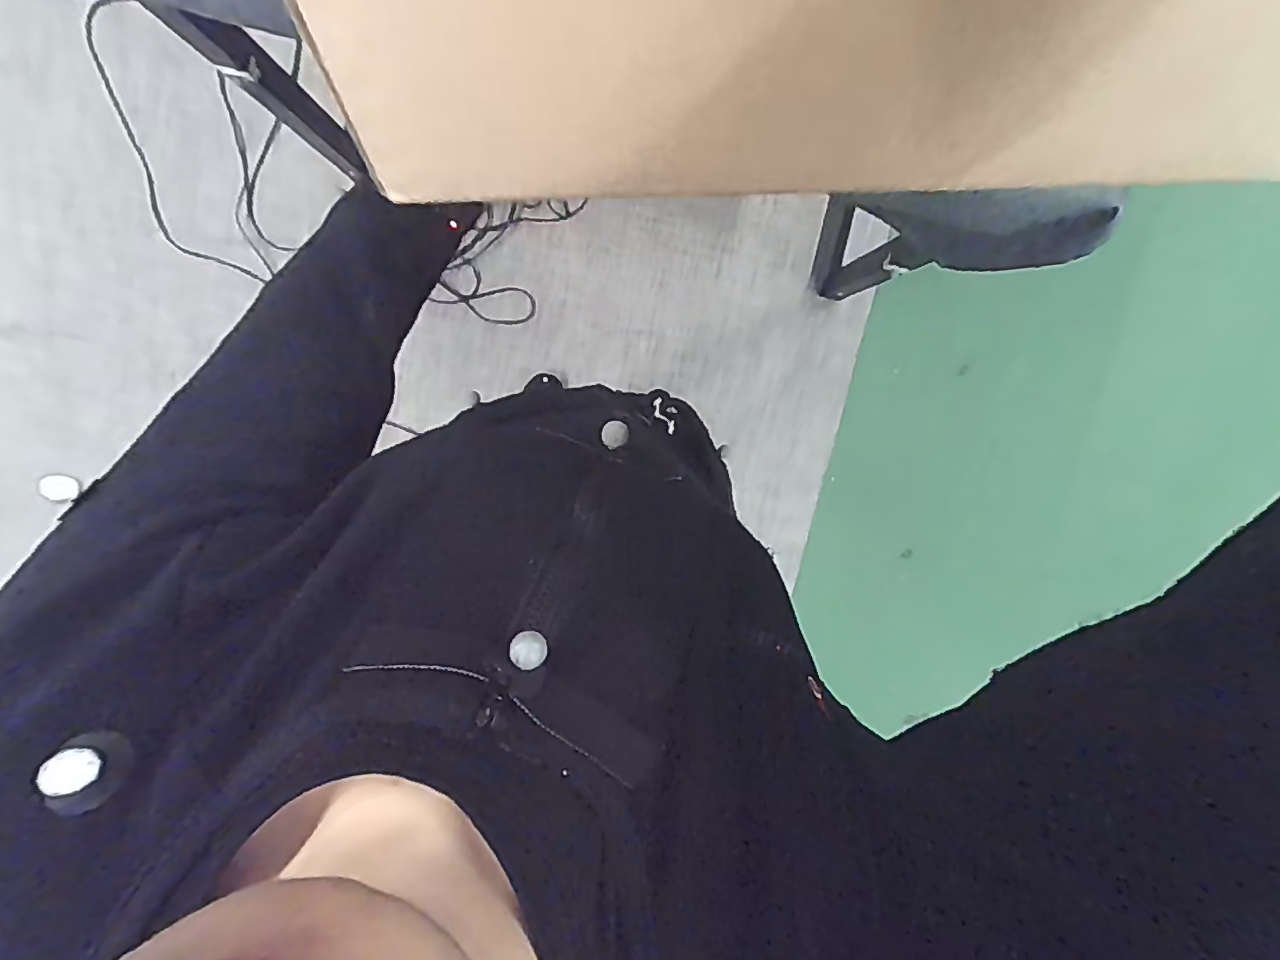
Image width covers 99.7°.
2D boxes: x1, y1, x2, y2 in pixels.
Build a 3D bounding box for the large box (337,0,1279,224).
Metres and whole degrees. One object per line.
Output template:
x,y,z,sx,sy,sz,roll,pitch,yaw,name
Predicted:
0.080,-0.345,0.229,0.408,0.320,0.320,1,144,10,large box
